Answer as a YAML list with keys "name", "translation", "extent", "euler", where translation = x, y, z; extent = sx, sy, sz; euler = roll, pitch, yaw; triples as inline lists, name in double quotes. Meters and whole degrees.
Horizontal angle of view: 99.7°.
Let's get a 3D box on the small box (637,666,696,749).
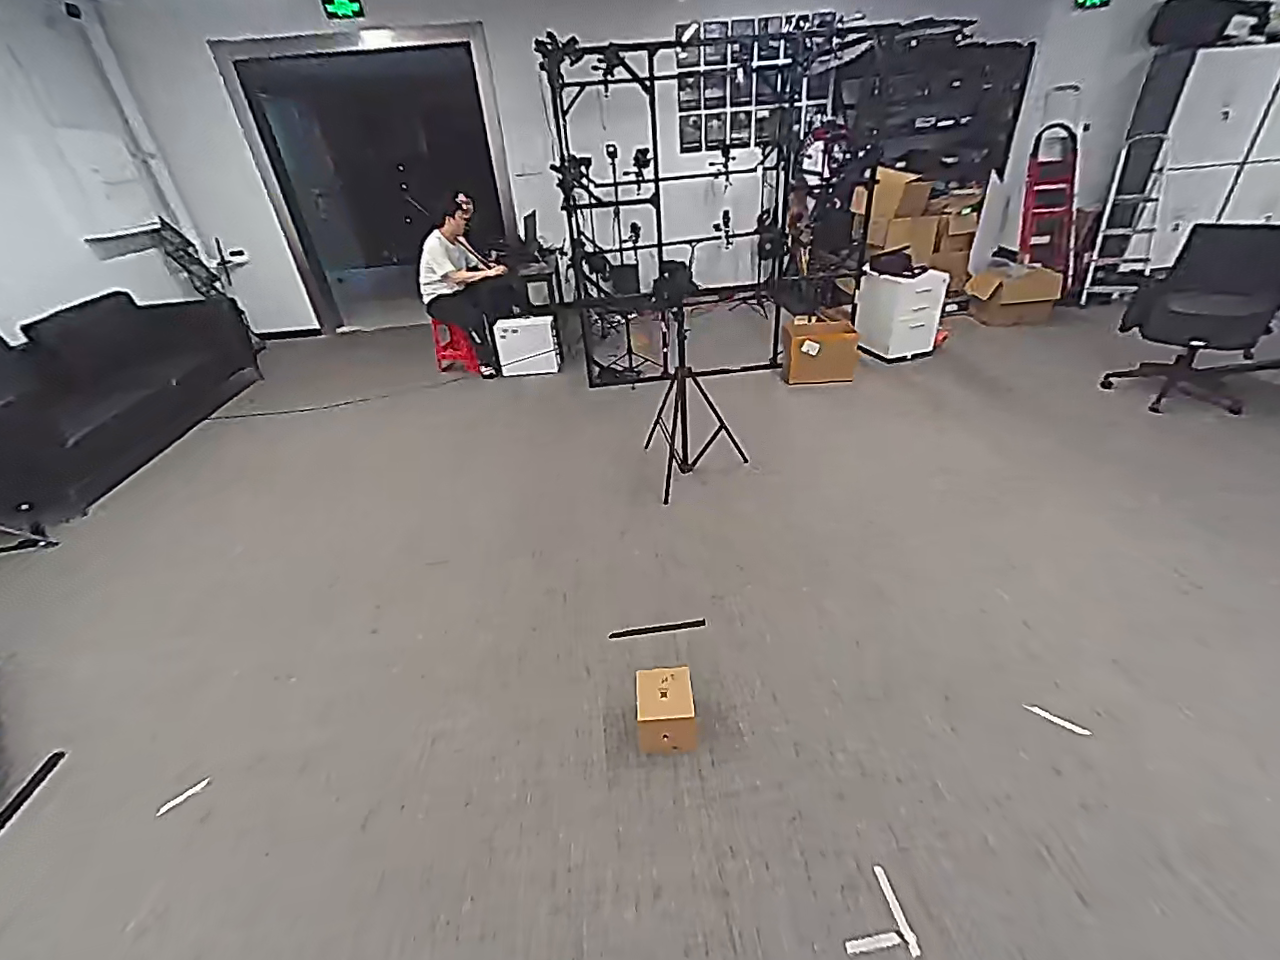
- name: "small box"
  translation: [0.080, 0.693, 1.636]
  extent: [0.168, 0.176, 0.179]
  euler: [-4, 32, 1]
